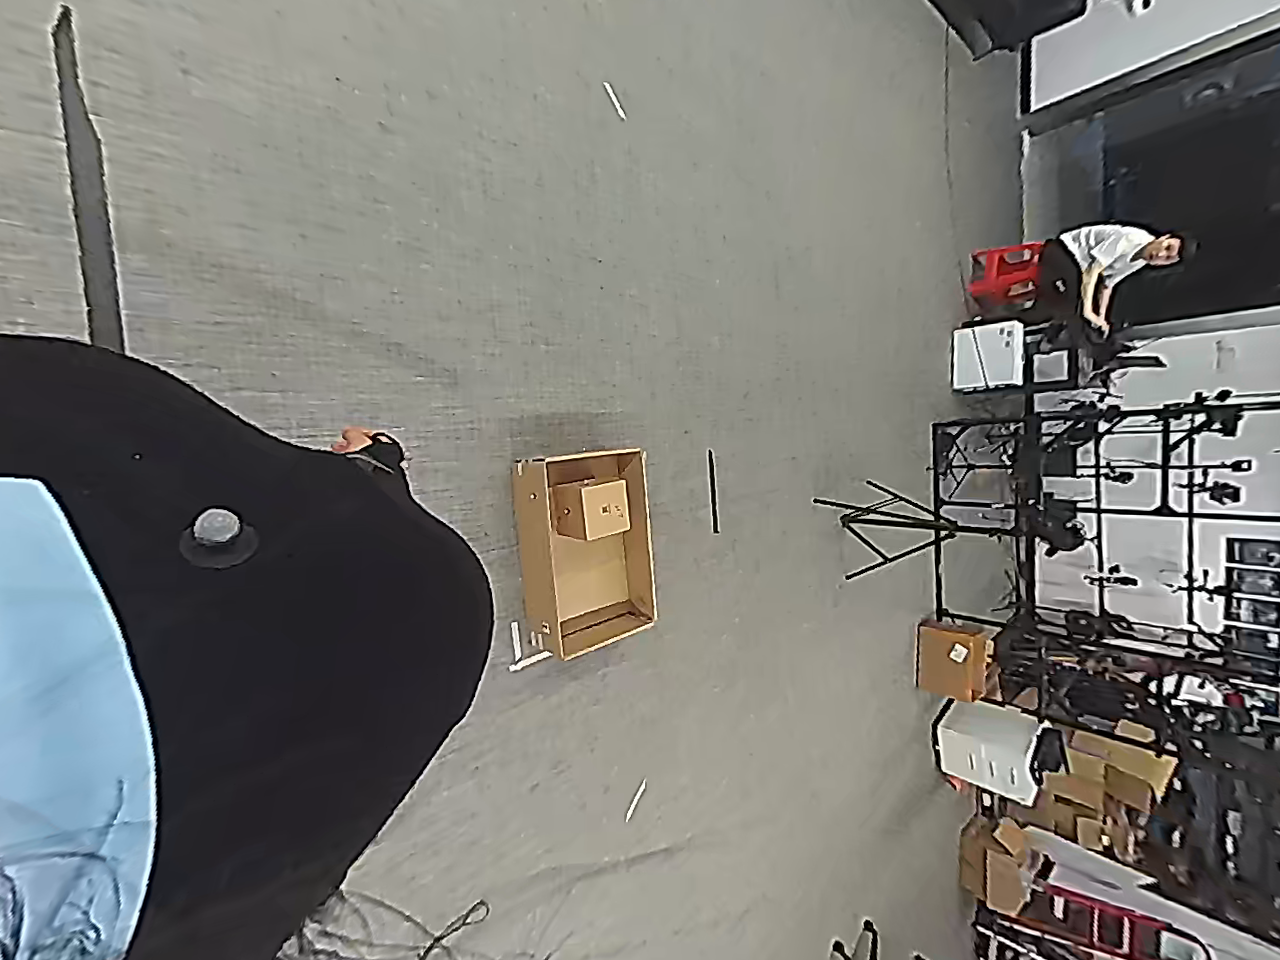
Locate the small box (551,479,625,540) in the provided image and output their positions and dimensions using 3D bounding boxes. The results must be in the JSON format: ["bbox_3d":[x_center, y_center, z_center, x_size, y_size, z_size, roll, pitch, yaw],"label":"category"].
[{"bbox_3d":[-0.173,0.091,1.742,0.179,0.176,0.168,-11,100,-41],"label":"small box"}]
